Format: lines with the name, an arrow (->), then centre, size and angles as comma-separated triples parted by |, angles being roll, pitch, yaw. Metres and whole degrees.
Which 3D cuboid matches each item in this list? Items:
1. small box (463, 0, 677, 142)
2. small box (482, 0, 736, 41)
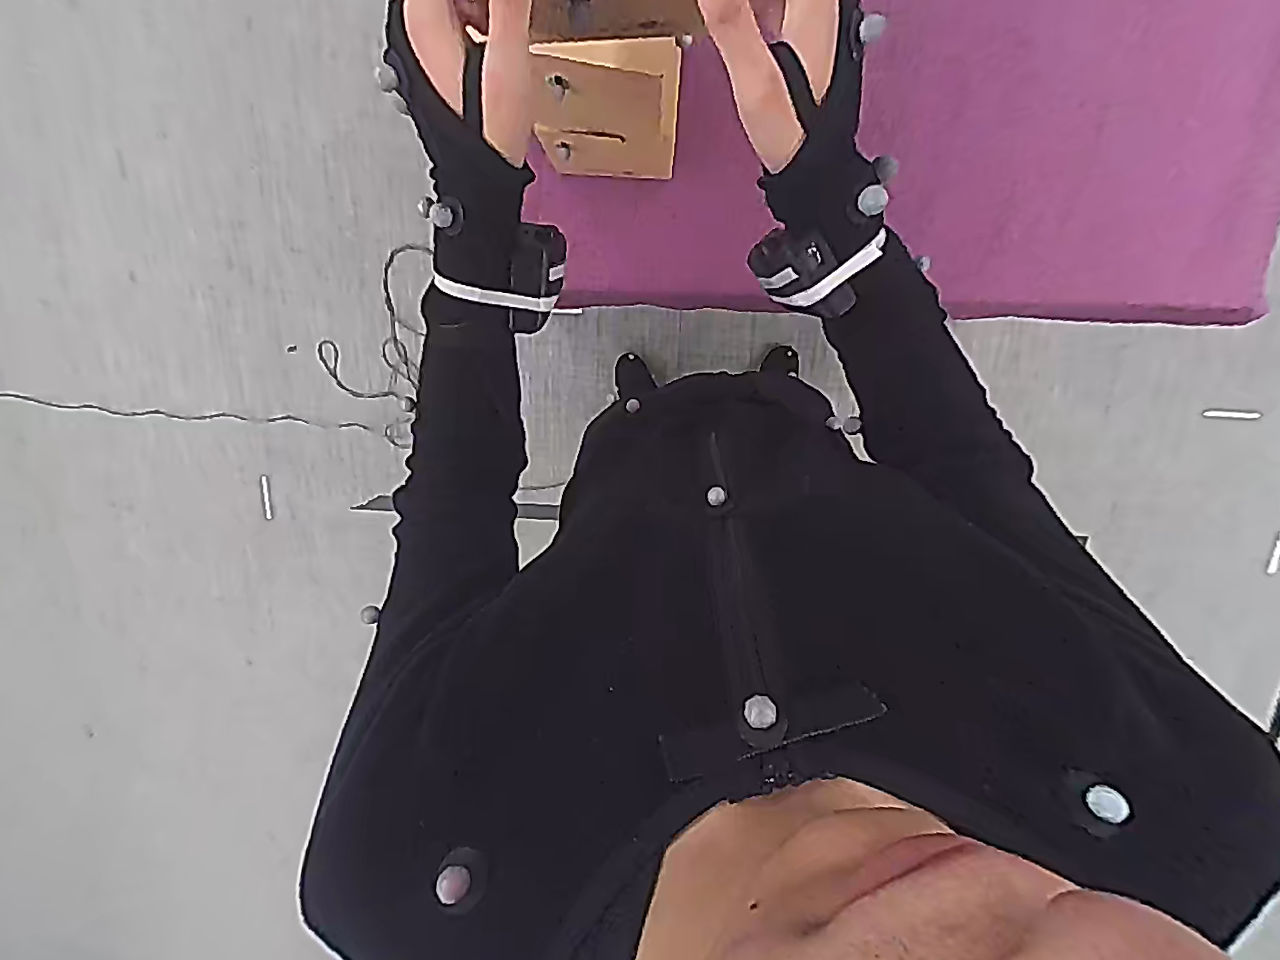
small box -> -0.052, -0.456, 0.524 | 0.179, 0.176, 0.168 | 9, 104, -2
small box -> -0.019, -0.364, 0.290 | 0.168, 0.176, 0.179 | -4, 115, -1
